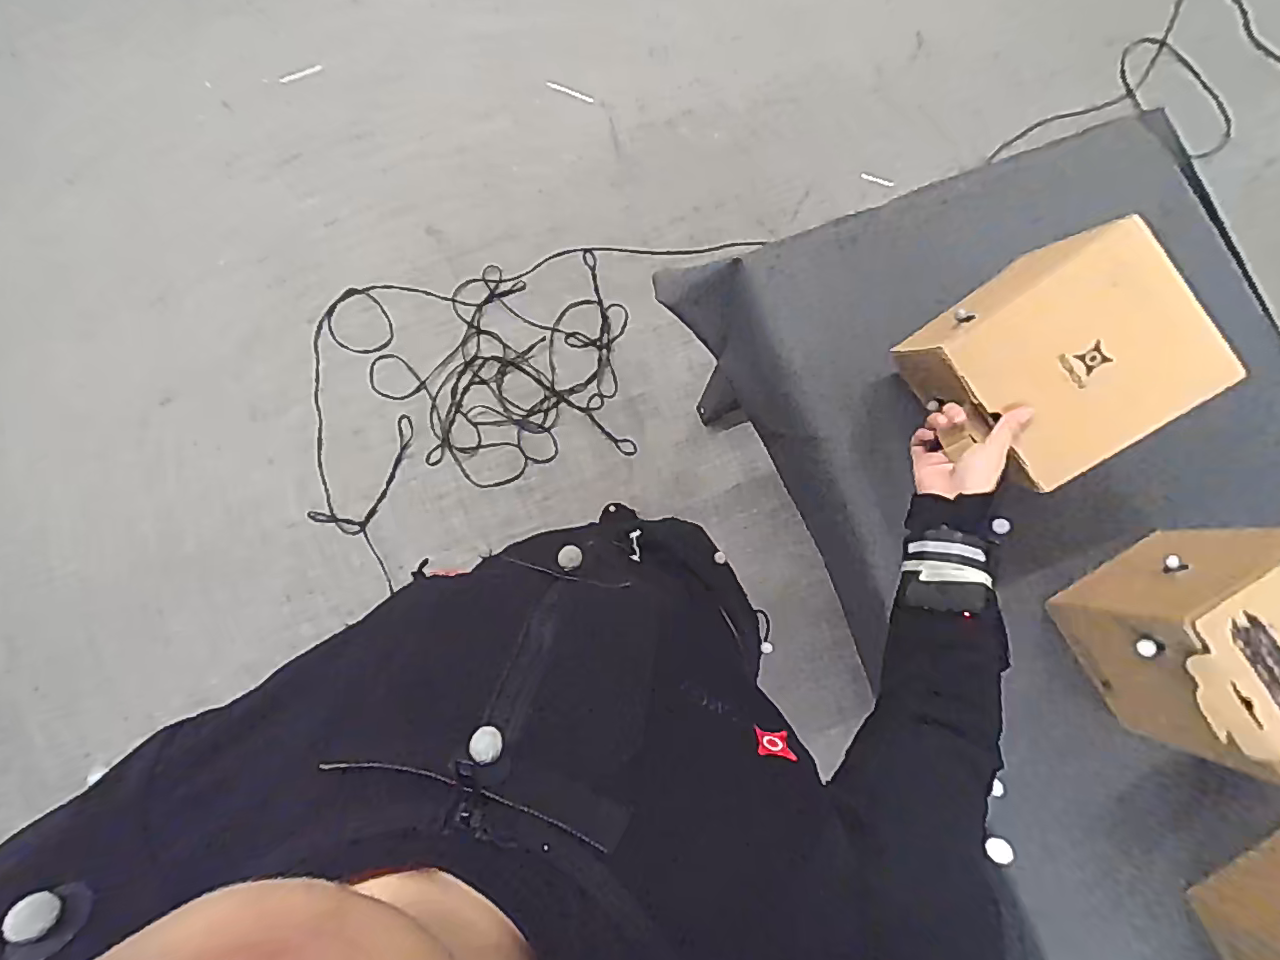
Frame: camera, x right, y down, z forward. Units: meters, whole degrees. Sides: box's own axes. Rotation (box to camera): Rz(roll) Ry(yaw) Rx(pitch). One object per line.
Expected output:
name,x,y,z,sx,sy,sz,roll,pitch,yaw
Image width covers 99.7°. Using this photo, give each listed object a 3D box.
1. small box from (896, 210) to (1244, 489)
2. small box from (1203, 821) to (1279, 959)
small box,0.390,-0.121,0.531,0.179,0.176,0.168,-37,94,16
small box,0.725,0.476,0.529,0.179,0.176,0.168,-28,86,-5
